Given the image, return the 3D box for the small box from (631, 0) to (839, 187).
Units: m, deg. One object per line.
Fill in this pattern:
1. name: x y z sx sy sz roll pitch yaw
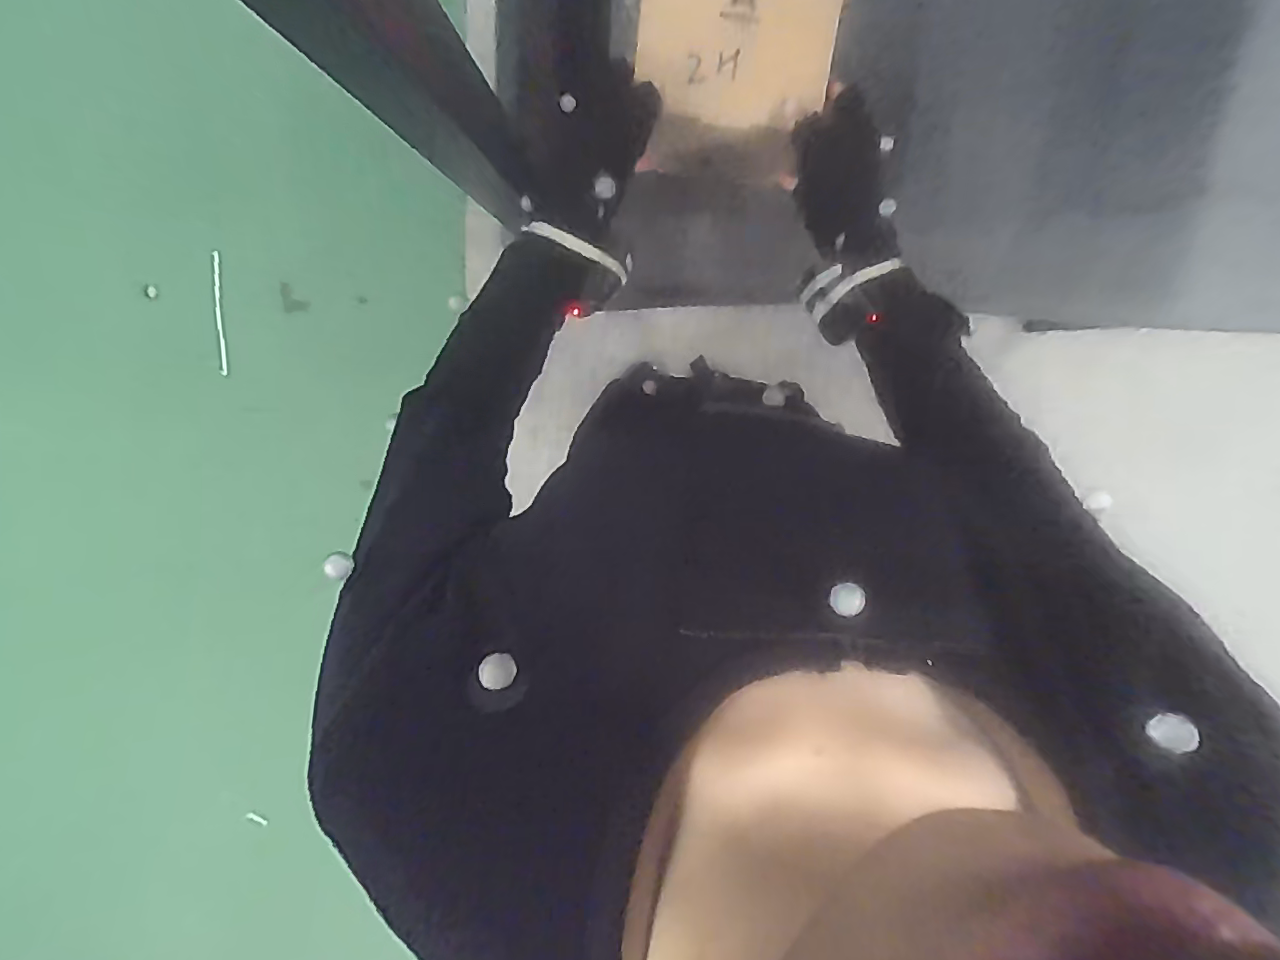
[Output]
1. small box: 0.081 -0.413 0.526 0.168 0.176 0.179 7 104 -2
